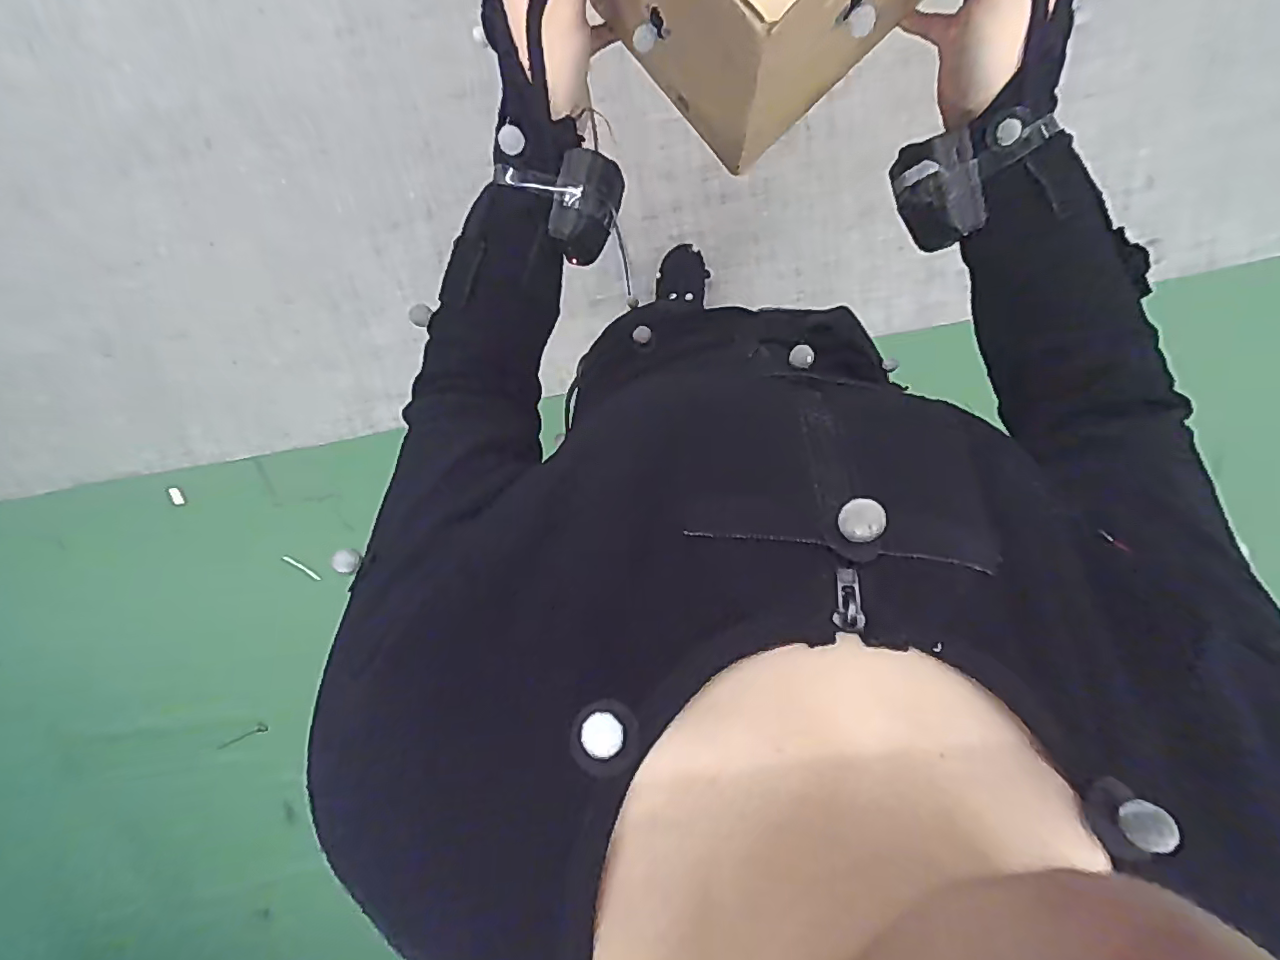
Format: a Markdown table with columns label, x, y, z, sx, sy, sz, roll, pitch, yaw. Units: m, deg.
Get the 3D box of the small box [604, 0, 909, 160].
| label | x | y | z | sx | sy | sz | roll | pitch | yaw |
| --- | --- | --- | --- | --- | --- | --- | --- | --- | --- |
| small box | 0.071 | -0.331 | 0.308 | 0.179 | 0.176 | 0.168 | -41 | 93 | 11 |
